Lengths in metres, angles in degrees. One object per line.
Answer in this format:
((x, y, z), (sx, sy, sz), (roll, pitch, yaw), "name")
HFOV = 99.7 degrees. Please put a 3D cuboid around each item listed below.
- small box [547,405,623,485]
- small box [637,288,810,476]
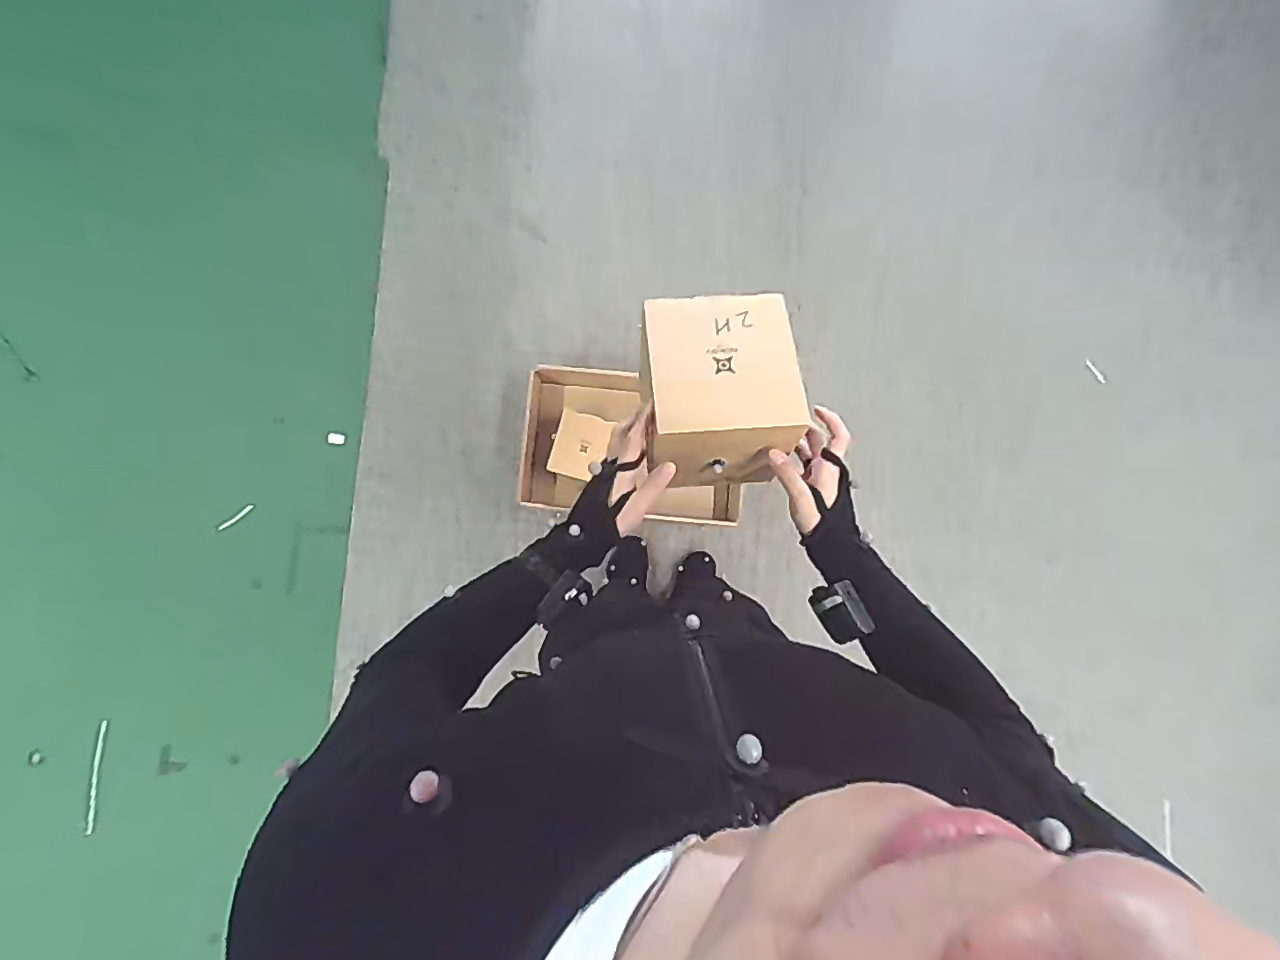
((-0.148, -0.091, 1.520), (0.168, 0.176, 0.179), (16, 84, -1), "small box")
((0.087, -0.108, 0.656), (0.168, 0.176, 0.179), (-2, 70, -5), "small box")
